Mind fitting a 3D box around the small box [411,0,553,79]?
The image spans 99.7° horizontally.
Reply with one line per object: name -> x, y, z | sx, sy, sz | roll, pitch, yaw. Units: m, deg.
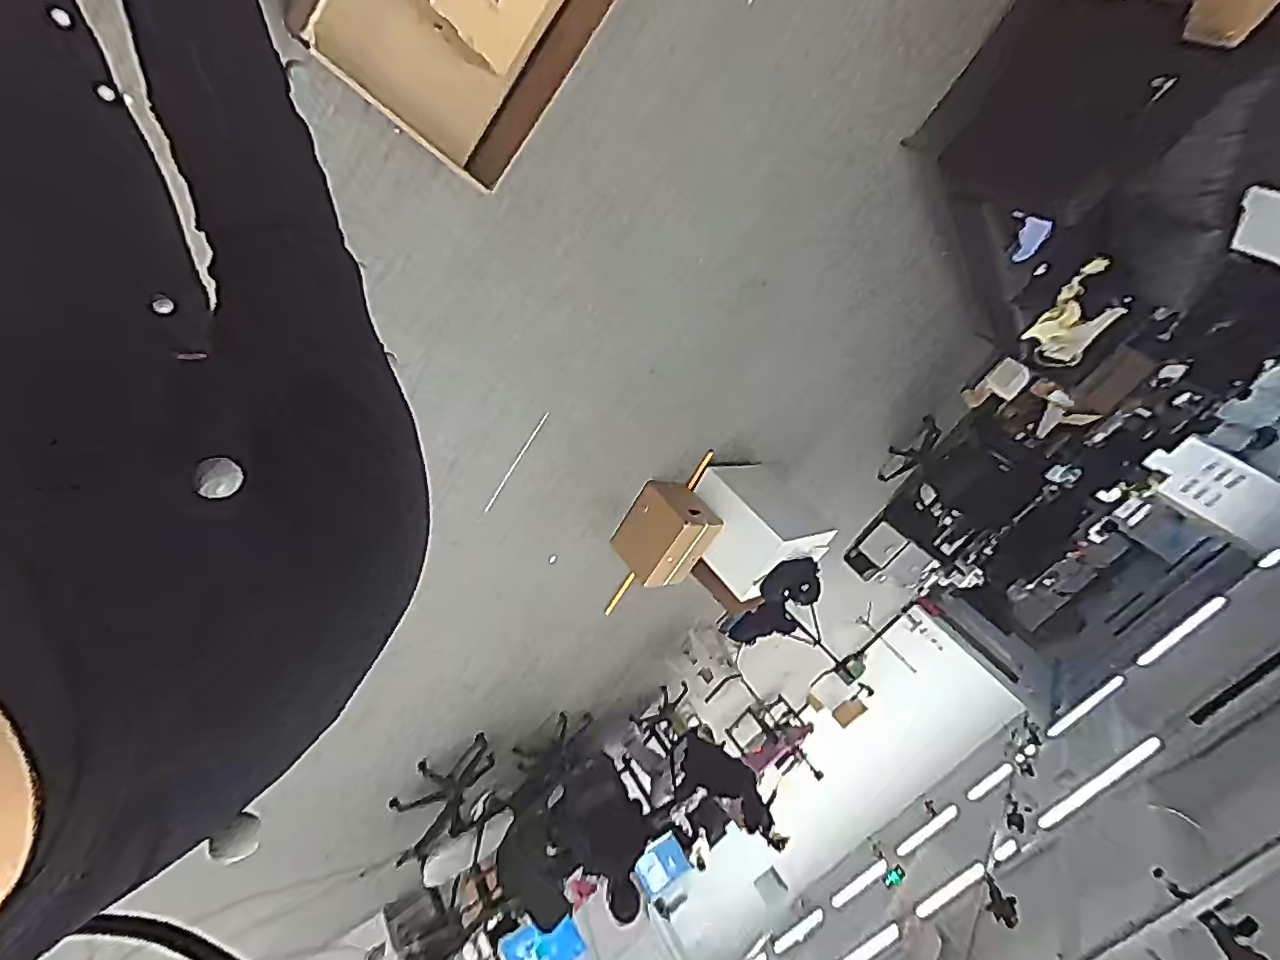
small box -> -0.292, -0.890, 0.981 | 0.179, 0.176, 0.168 | -51, 146, 14
